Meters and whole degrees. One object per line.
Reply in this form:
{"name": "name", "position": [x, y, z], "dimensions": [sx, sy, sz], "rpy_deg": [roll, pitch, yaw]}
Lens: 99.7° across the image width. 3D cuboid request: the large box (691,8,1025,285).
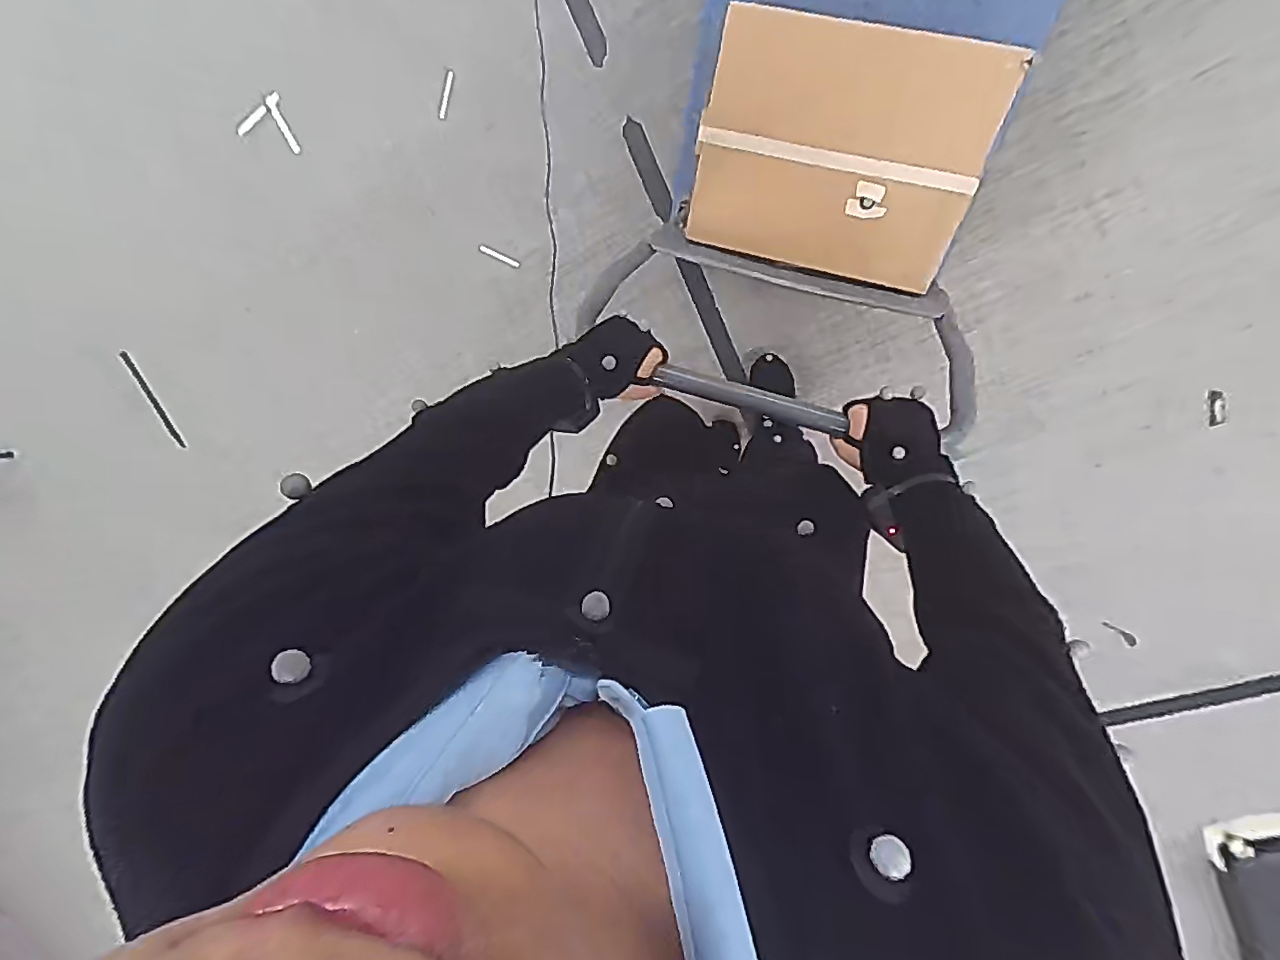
{"name": "large box", "position": [0.333, -0.566, 0.938], "dimensions": [0.408, 0.320, 0.320], "rpy_deg": [16, 126, 8]}
